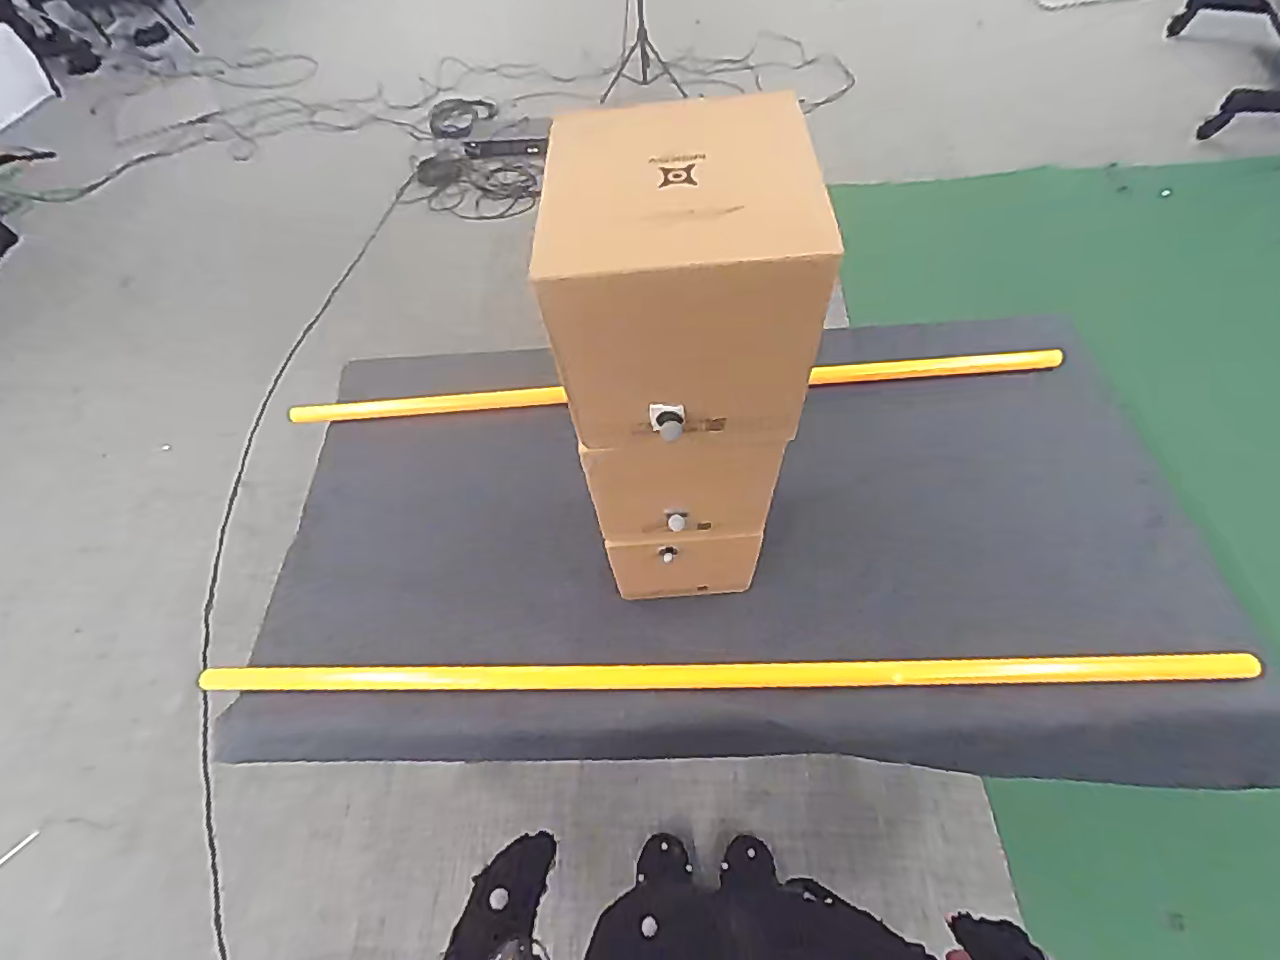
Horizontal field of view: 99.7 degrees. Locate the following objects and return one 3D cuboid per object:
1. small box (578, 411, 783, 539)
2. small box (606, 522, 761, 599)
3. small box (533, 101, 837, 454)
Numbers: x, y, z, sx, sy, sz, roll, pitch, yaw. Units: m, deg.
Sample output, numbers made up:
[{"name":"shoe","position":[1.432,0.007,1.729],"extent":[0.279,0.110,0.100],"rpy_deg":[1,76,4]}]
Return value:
[{"name":"small box","position":[0.037,-0.056,0.538],"extent":[0.168,0.176,0.179],"rpy_deg":[-3,59,4]},{"name":"small box","position":[0.049,0.034,0.675],"extent":[0.168,0.176,0.179],"rpy_deg":[-5,58,3]},{"name":"small box","position":[0.030,-0.139,0.399],"extent":[0.168,0.176,0.179],"rpy_deg":[-4,59,5]}]
